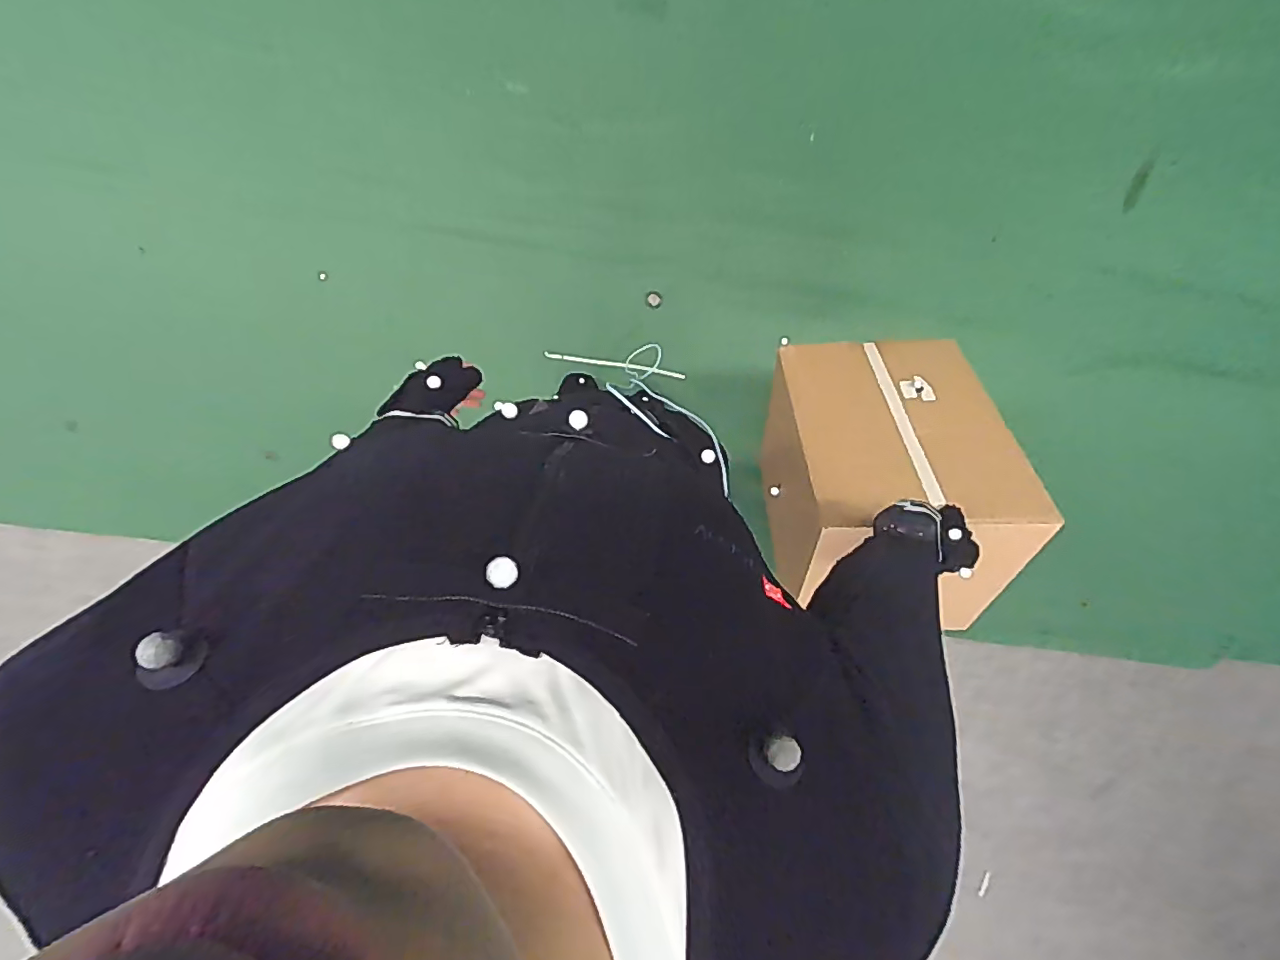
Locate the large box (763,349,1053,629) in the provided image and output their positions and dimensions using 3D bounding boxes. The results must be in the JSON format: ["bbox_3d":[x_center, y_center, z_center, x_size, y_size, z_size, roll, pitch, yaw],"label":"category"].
[{"bbox_3d":[0.412,0.014,0.967,0.320,0.408,0.320,0,138,3],"label":"large box"}]
